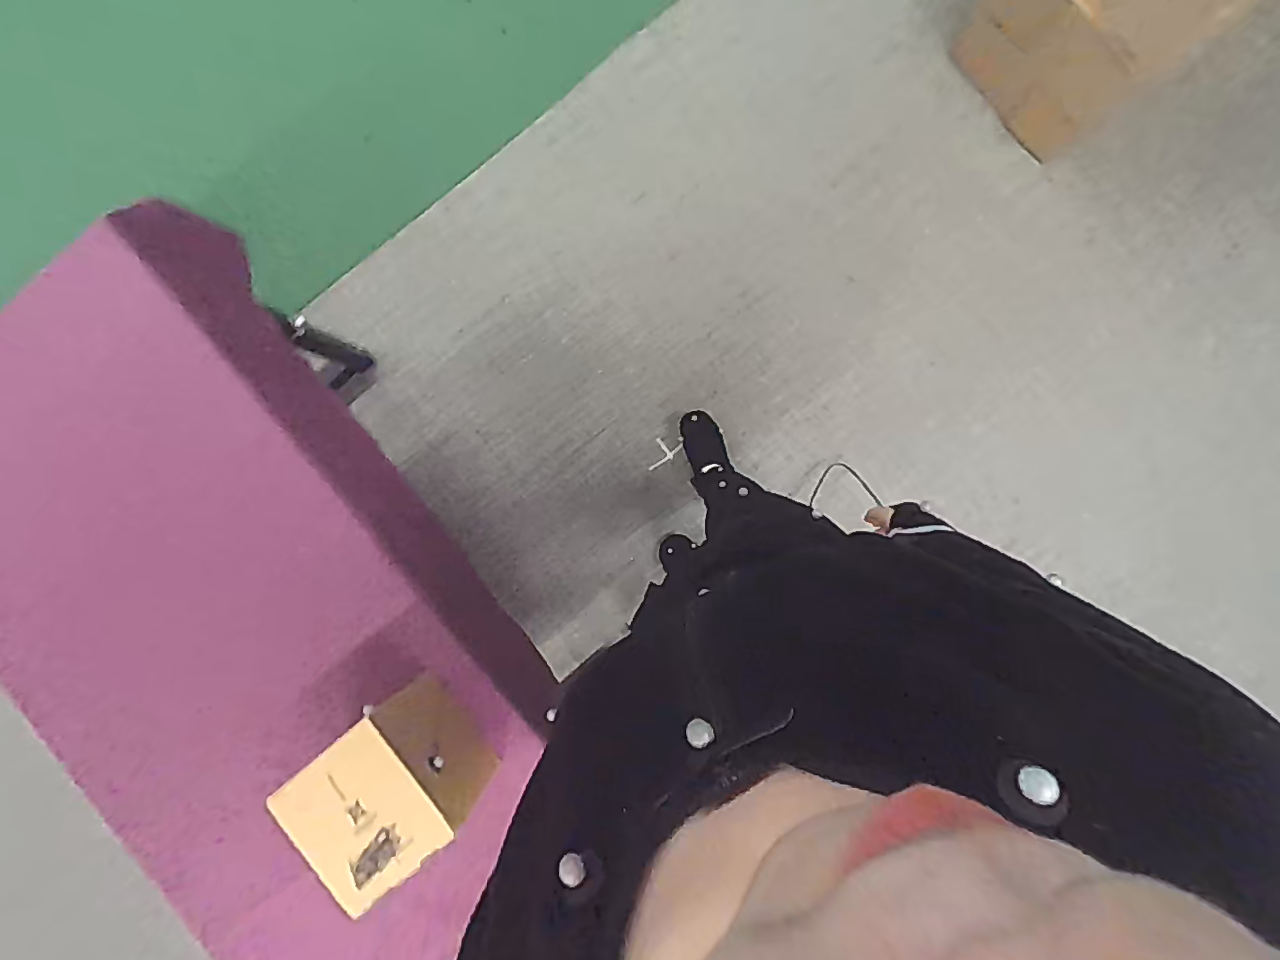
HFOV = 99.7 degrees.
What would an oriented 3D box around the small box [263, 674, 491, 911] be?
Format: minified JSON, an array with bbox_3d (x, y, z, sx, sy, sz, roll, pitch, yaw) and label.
[{"bbox_3d":[-0.329,0.394,0.716,0.168,0.176,0.179,-40,87,2],"label":"small box"}]
